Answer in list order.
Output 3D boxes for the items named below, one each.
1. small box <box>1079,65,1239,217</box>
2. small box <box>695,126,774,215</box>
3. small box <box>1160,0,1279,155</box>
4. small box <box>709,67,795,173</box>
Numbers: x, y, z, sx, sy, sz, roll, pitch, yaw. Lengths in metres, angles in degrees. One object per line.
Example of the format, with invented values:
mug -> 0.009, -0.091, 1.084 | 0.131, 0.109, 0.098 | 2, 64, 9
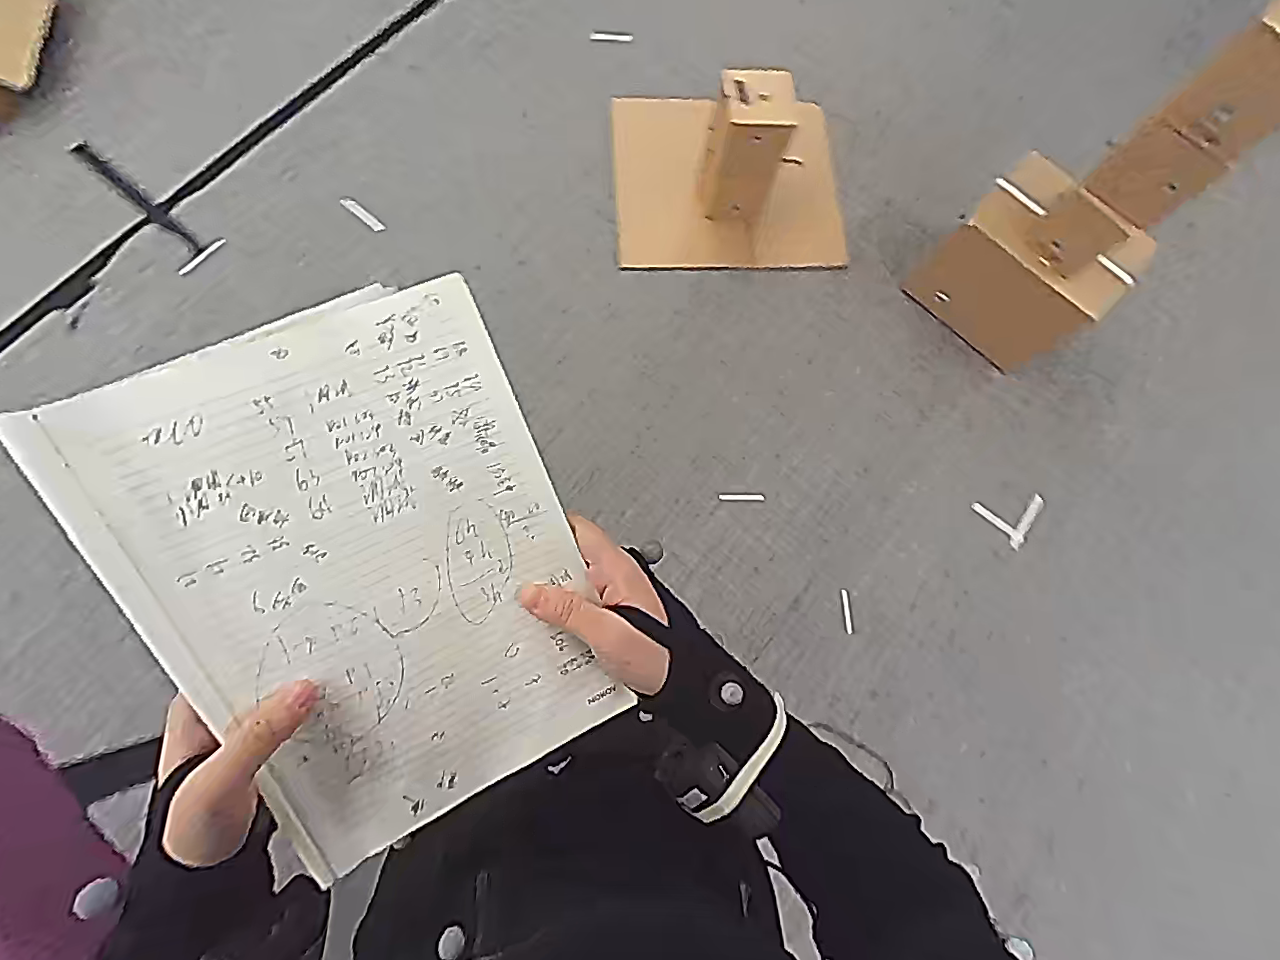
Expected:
small box -> 1.068, -0.676, 1.104 | 0.179, 0.176, 0.168 | 41, 76, 7
small box -> 0.269, -0.897, 1.575 | 0.179, 0.176, 0.168 | -5, 77, -7
small box -> 1.087, -0.726, 0.947 | 0.168, 0.176, 0.179 | 44, 77, 7
small box -> 0.282, -0.934, 1.415 | 0.179, 0.176, 0.168 | -4, 78, -7
